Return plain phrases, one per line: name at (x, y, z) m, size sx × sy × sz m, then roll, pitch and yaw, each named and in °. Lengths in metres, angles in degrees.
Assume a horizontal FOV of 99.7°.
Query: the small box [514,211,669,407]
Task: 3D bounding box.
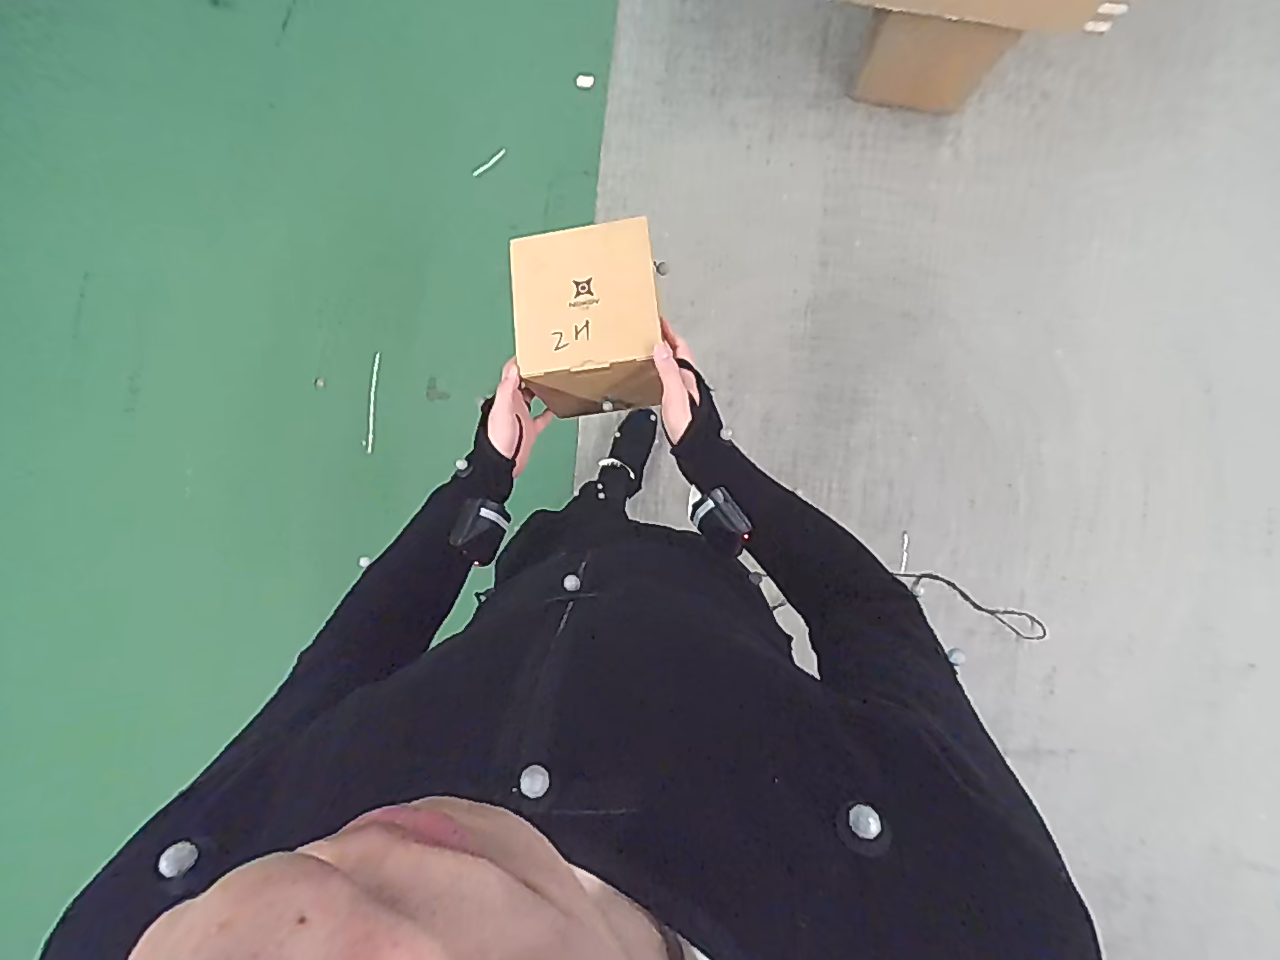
small box at (-0.055, -0.208, 0.698) m, size 0.168 × 0.176 × 0.179 m, roll -5°, pitch 80°, yaw 8°
